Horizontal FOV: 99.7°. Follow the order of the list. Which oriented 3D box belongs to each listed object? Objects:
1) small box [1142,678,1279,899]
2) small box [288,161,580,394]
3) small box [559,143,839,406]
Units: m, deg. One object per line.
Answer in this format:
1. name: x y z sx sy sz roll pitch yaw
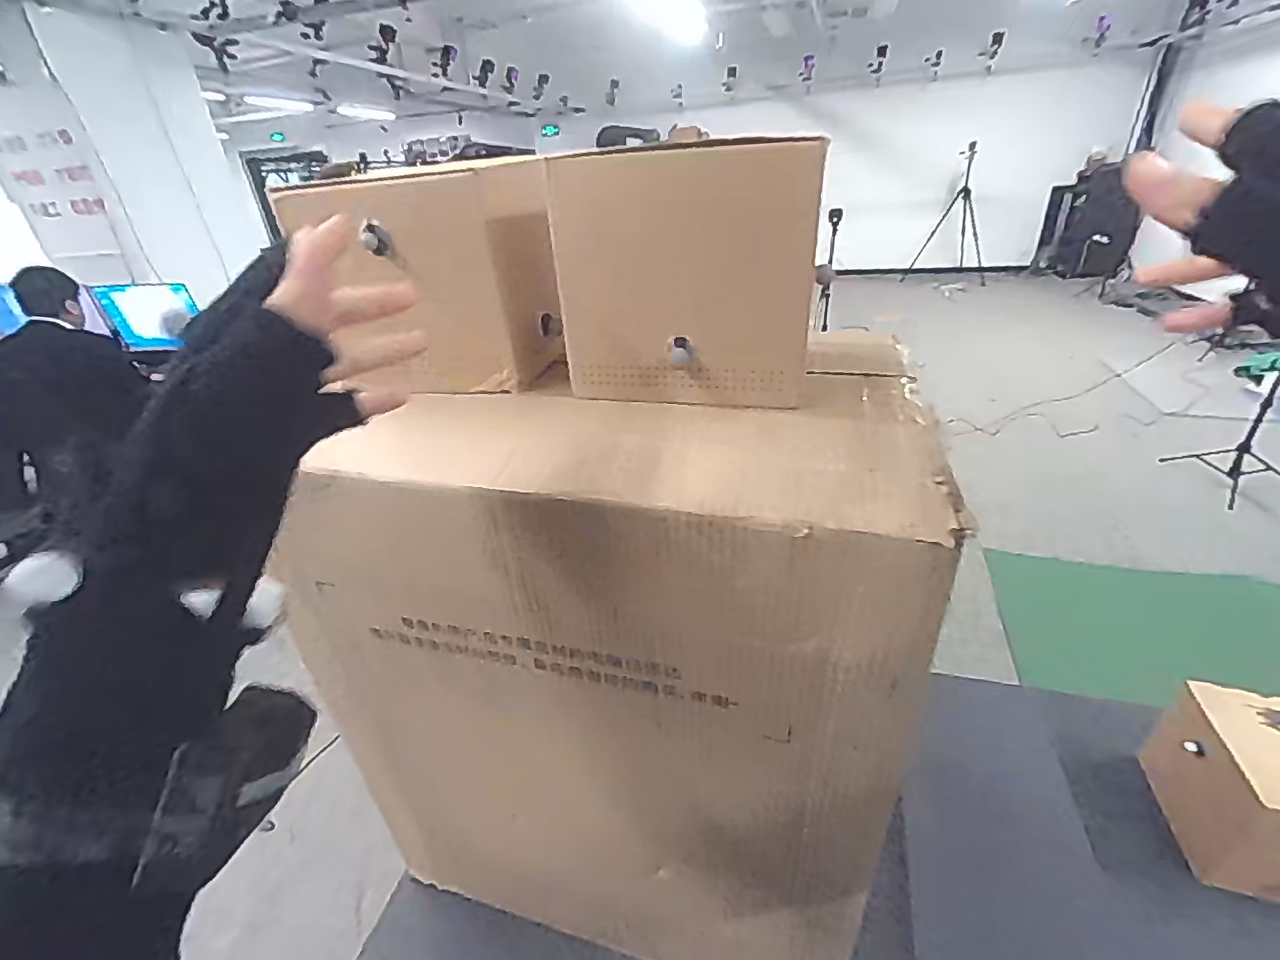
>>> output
1. small box: 0.782 0.386 0.671 0.168 0.176 0.179 6 31 18
2. small box: -0.160 -0.186 0.495 0.179 0.176 0.168 4 34 13
3. small box: 0.054 -0.168 0.436 0.179 0.176 0.168 5 32 14
